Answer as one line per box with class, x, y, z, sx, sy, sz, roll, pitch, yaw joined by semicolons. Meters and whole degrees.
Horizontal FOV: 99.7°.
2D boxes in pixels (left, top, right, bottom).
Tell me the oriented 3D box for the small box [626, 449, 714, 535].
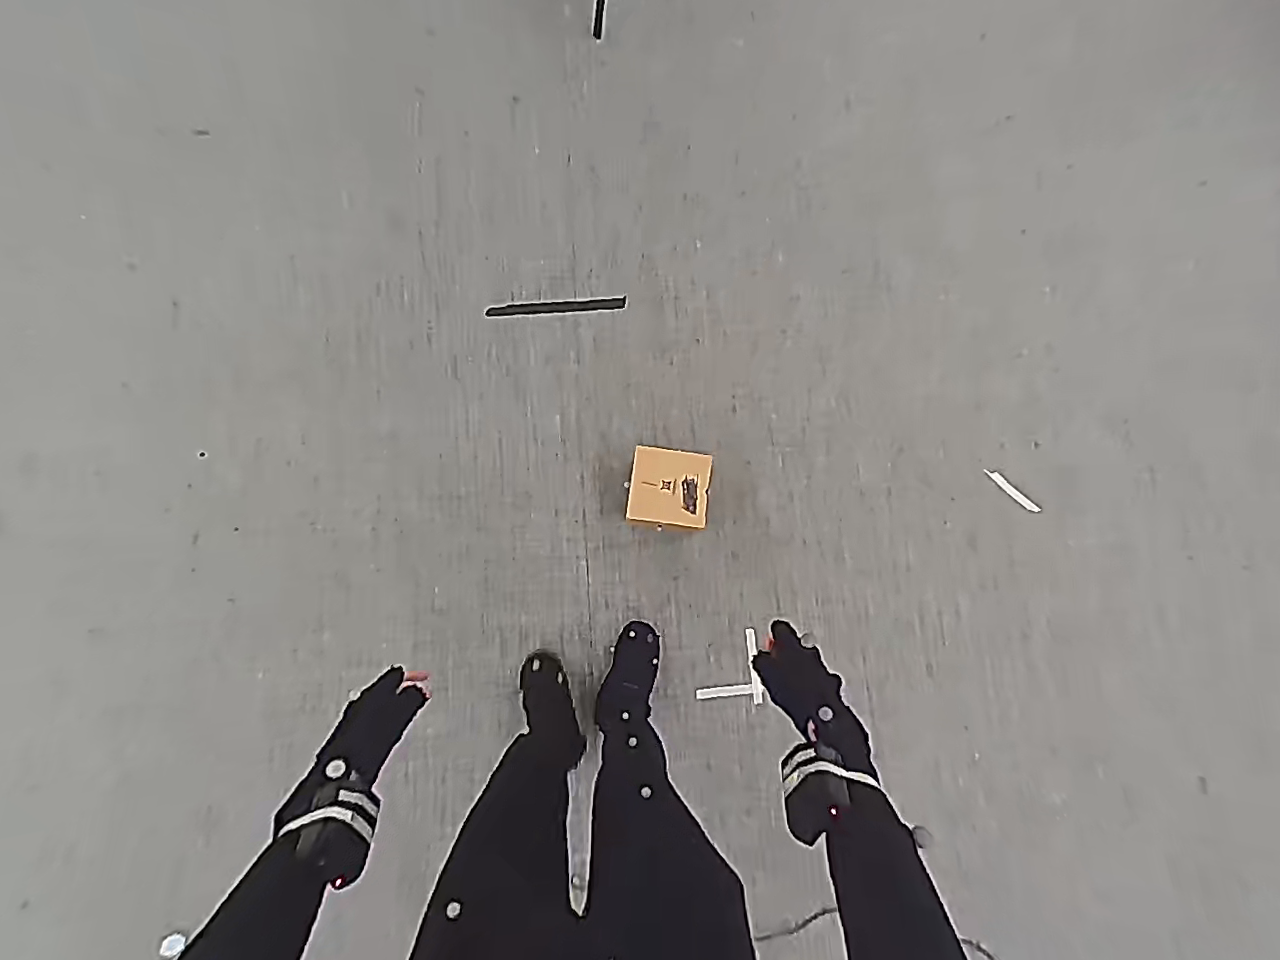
small box;0.066;0.035;1.263;0.179;0.176;0.168;8;81;1
